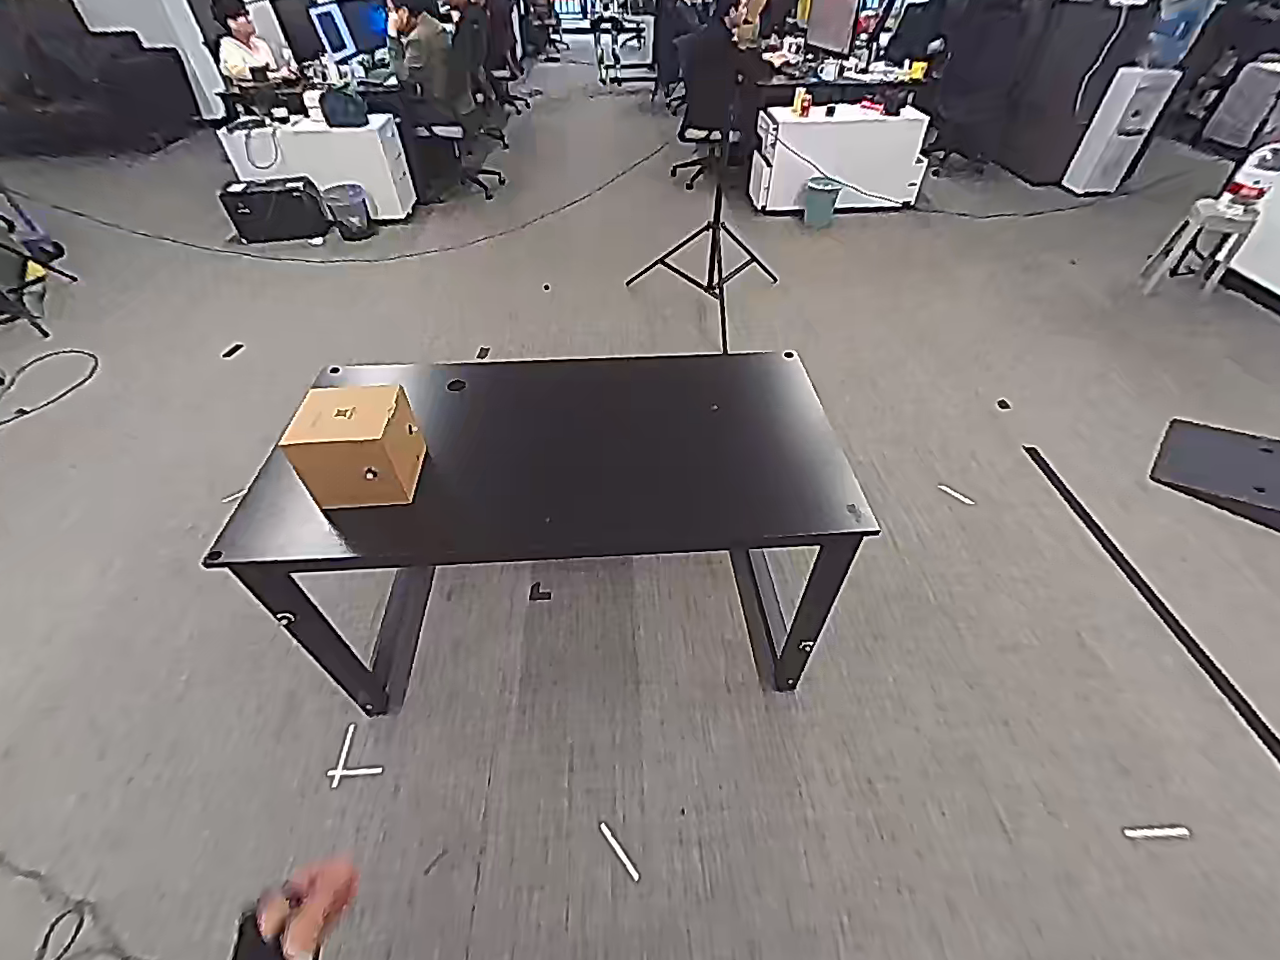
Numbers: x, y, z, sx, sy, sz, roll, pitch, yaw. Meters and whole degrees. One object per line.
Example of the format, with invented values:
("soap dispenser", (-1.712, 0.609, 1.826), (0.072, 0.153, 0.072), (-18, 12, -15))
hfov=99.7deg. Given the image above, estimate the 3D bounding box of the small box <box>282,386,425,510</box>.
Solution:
("small box", (-0.532, -0.060, 1.038), (0.179, 0.176, 0.168), (-5, 45, -3))
